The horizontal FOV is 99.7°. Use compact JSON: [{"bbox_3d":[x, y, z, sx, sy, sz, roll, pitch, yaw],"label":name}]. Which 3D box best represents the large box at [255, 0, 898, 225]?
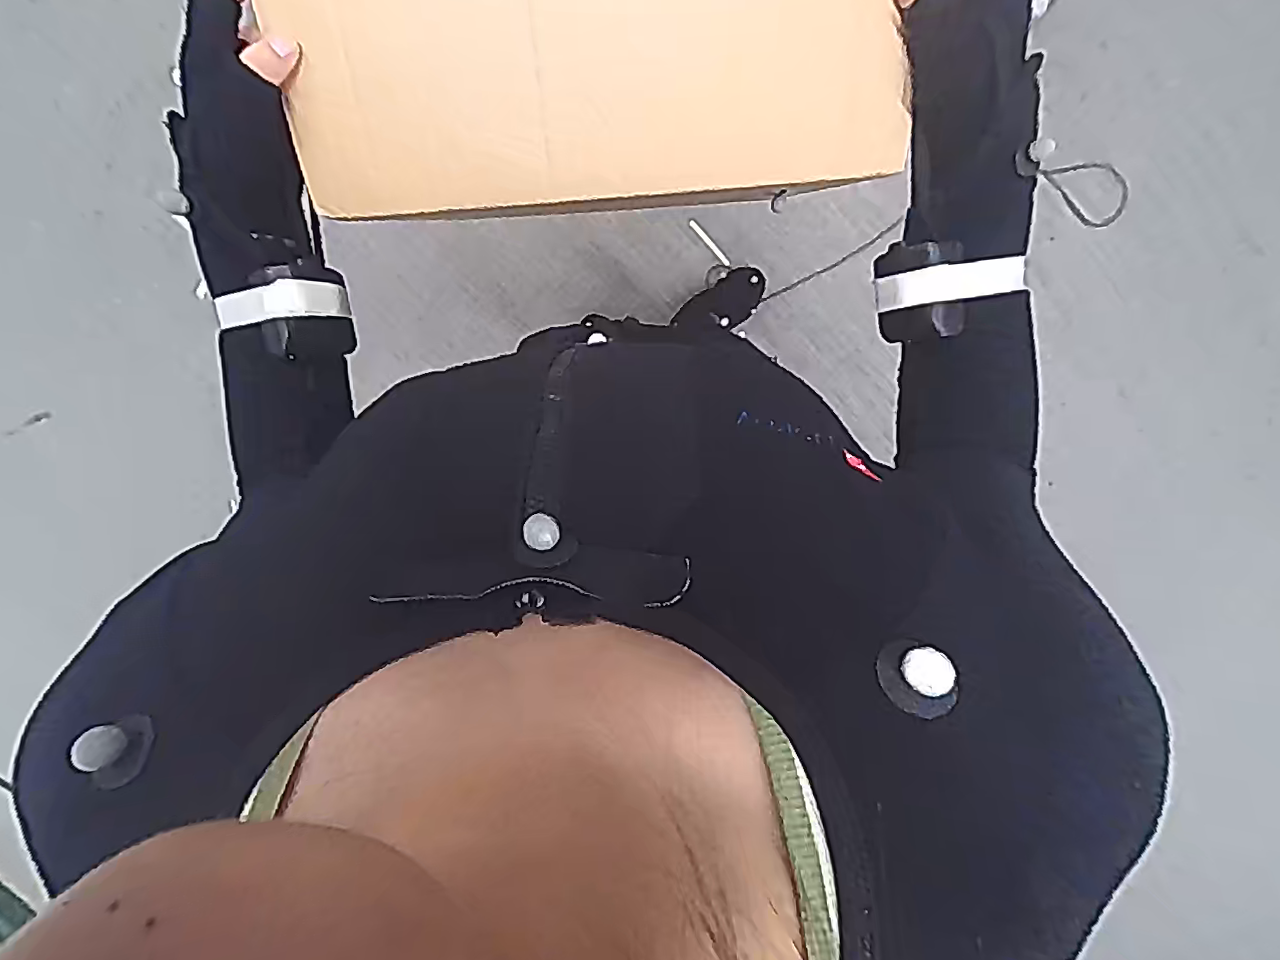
[{"bbox_3d":[-0.040,-0.402,0.449,0.408,0.320,0.320,-4,115,2],"label":"large box"}]
